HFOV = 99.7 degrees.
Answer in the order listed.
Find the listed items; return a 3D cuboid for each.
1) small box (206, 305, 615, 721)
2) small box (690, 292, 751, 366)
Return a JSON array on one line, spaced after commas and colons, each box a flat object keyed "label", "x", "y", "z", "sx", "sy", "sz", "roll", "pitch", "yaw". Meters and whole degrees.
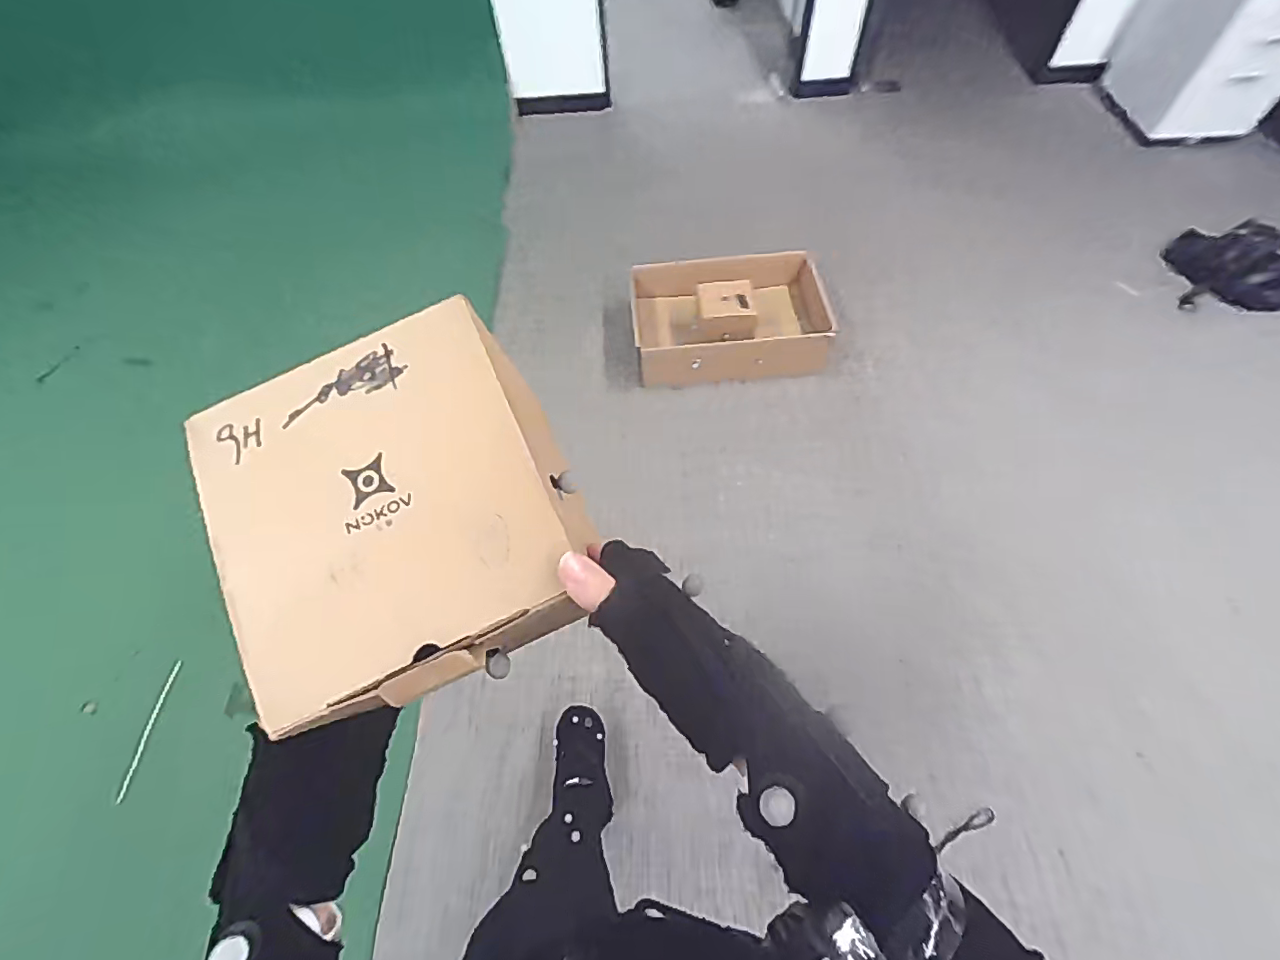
[{"label": "small box", "x": -0.126, "y": 0.026, "z": 0.359, "sx": 0.168, "sy": 0.176, "sz": 0.179, "roll": -24, "pitch": 76, "yaw": -2}, {"label": "small box", "x": 0.260, "y": -0.496, "z": 1.791, "sx": 0.179, "sy": 0.176, "sz": 0.168, "roll": -4, "pitch": 57, "yaw": 1}]
